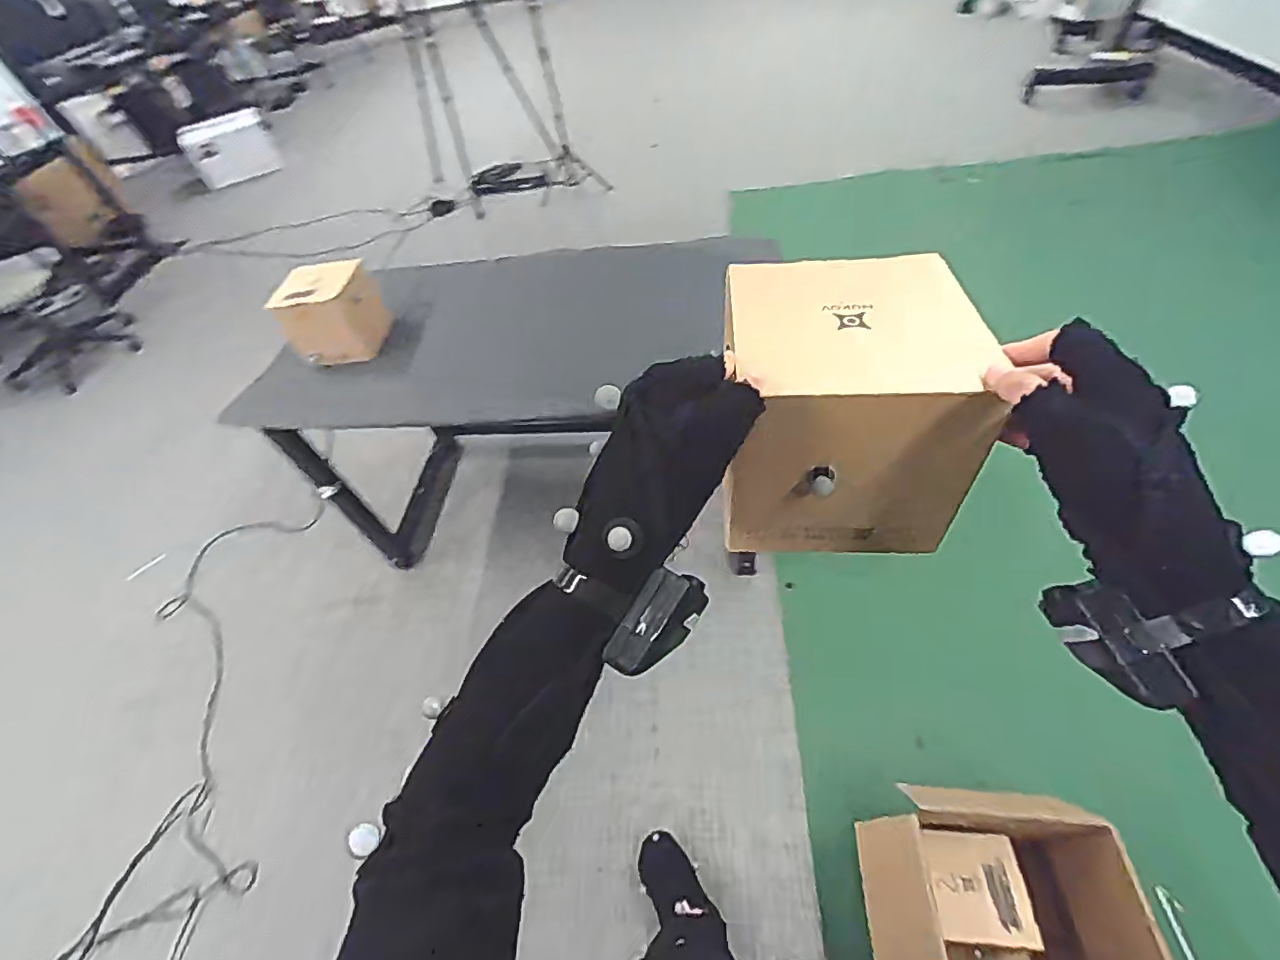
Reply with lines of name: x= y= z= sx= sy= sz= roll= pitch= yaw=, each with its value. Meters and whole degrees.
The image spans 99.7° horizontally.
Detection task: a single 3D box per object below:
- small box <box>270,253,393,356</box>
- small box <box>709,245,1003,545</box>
small box: x=-0.720 y=-0.409 z=1.288 sx=0.168 sy=0.176 sz=0.179 roll=-4 pitch=50 yaw=6
small box: x=0.140 y=-0.061 z=0.429 sx=0.168 sy=0.176 sz=0.179 roll=-1 pitch=46 yaw=6
